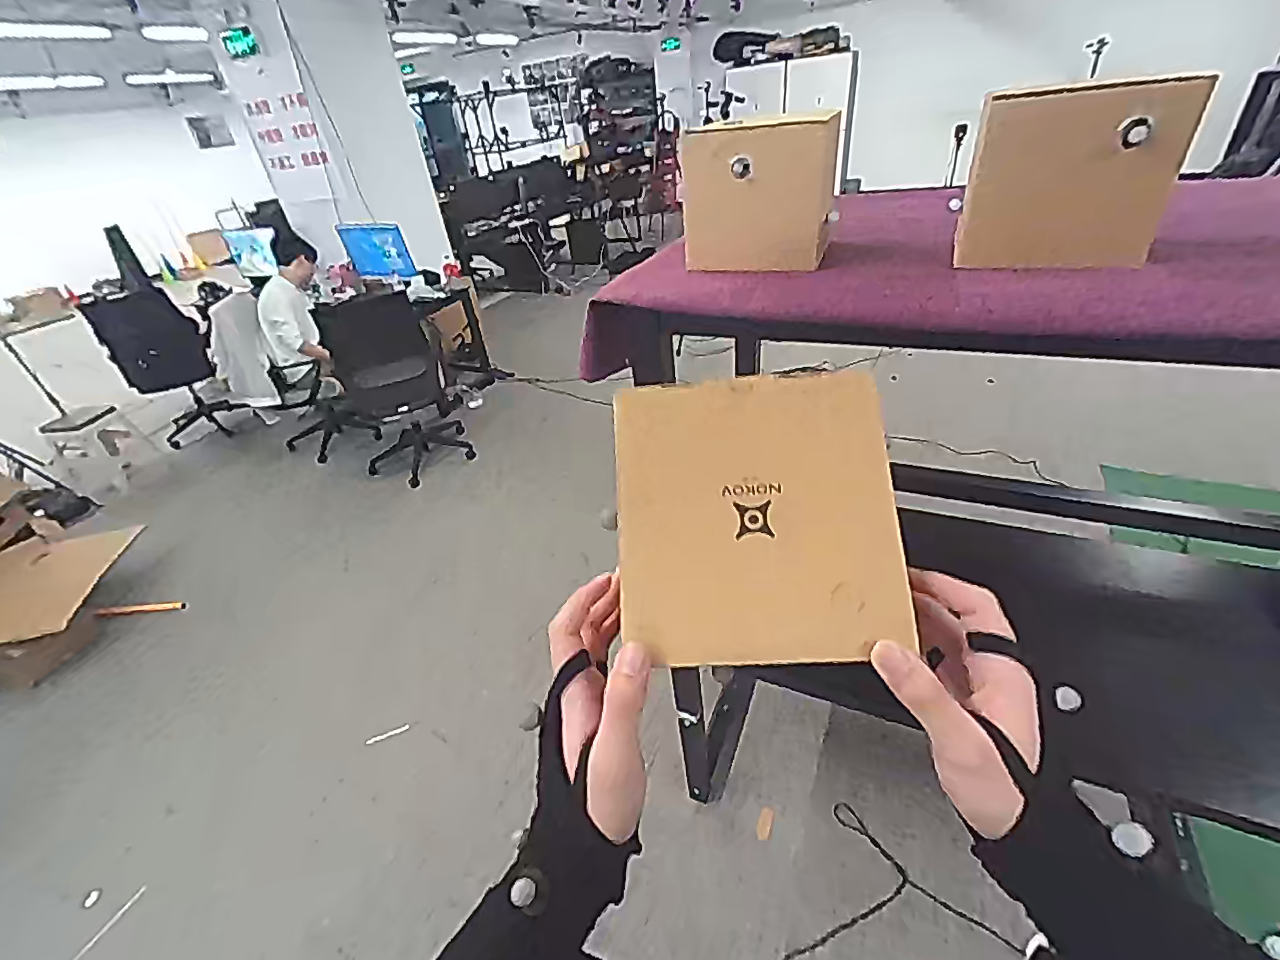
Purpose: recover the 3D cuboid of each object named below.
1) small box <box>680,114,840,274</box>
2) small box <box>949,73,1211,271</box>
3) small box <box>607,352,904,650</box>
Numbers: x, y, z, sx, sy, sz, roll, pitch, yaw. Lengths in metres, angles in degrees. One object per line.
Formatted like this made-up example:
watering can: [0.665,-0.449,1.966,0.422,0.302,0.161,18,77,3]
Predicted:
small box: [0.166,-0.387,0.738,0.179,0.176,0.168,9,38,21]
small box: [0.468,-0.342,0.610,0.179,0.176,0.168,10,37,25]
small box: [0.071,0.029,0.400,0.168,0.176,0.179,-4,74,6]
